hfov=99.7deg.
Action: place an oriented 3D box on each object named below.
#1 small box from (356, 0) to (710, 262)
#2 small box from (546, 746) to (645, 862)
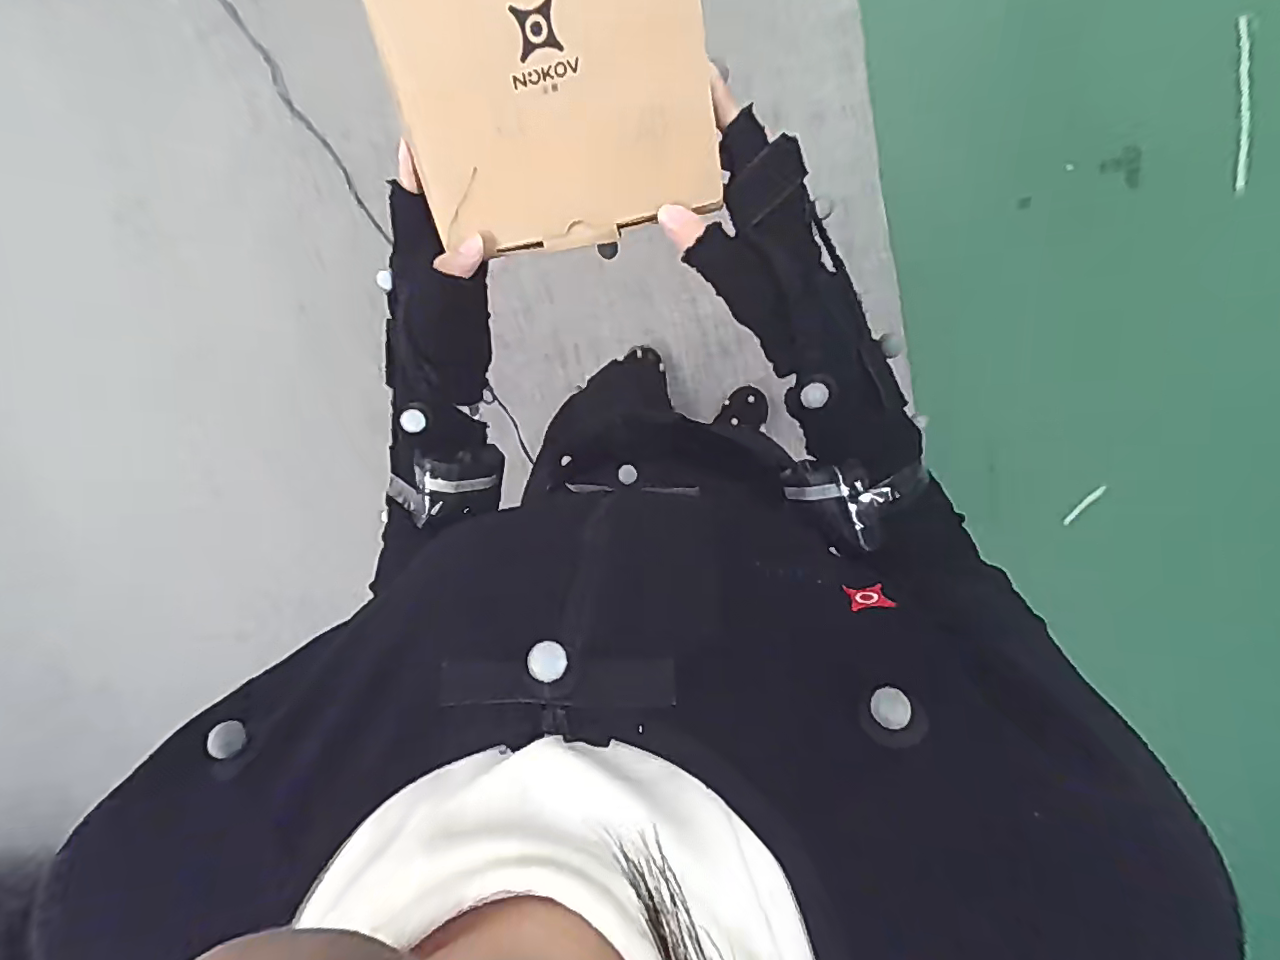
[{"bbox_3d":[-0.047,-0.254,0.344,0.168,0.176,0.179,-8,116,10],"label":"small box"},{"bbox_3d":[-0.095,0.757,1.278,0.179,0.176,0.168,-14,101,14],"label":"small box"}]
